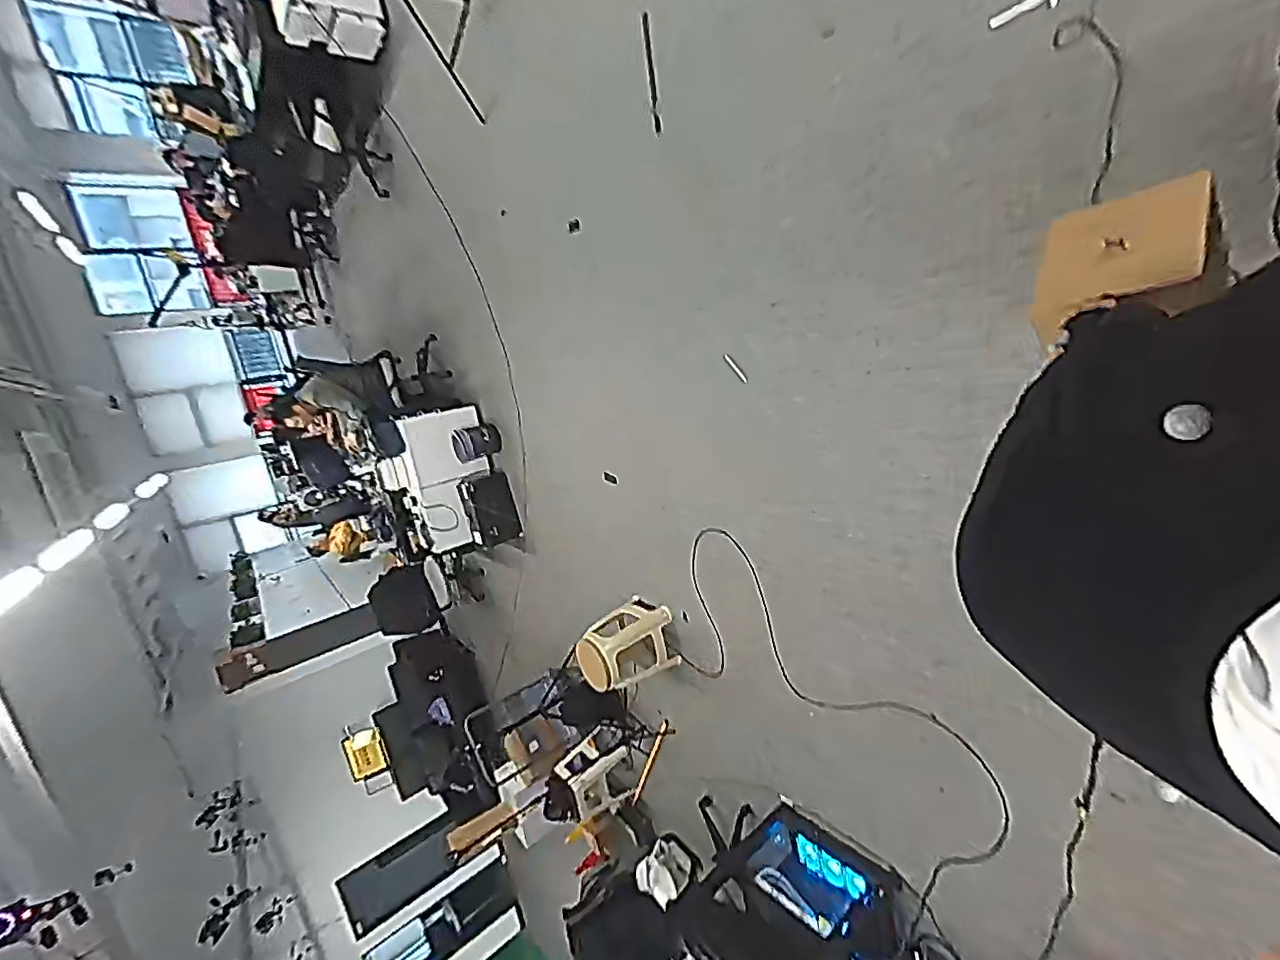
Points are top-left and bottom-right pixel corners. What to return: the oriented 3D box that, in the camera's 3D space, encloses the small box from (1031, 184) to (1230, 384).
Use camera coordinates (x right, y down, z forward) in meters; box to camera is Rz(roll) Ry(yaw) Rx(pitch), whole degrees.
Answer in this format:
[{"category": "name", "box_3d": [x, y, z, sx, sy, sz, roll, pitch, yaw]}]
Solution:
[{"category": "small box", "box_3d": [0.669, -0.246, 0.735, 0.176, 0.179, 0.168, 38, 159, -31]}]
